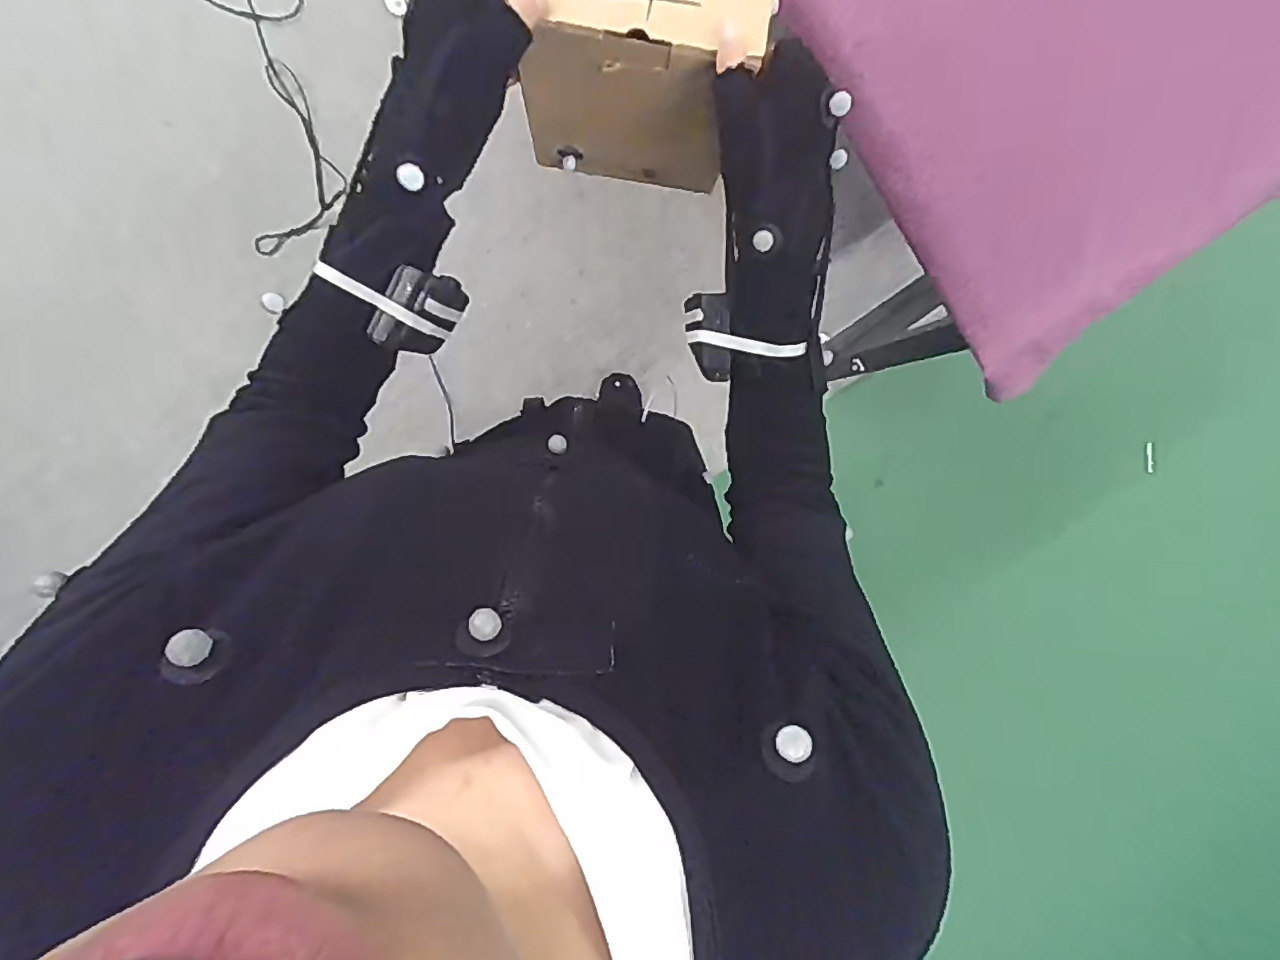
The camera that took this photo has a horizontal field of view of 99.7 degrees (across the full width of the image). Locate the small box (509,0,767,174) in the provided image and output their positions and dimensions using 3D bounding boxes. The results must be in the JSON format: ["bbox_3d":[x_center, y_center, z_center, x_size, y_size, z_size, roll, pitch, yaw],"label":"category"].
[{"bbox_3d":[0.005,-0.373,0.419,0.168,0.176,0.179,7,90,-4],"label":"small box"}]
